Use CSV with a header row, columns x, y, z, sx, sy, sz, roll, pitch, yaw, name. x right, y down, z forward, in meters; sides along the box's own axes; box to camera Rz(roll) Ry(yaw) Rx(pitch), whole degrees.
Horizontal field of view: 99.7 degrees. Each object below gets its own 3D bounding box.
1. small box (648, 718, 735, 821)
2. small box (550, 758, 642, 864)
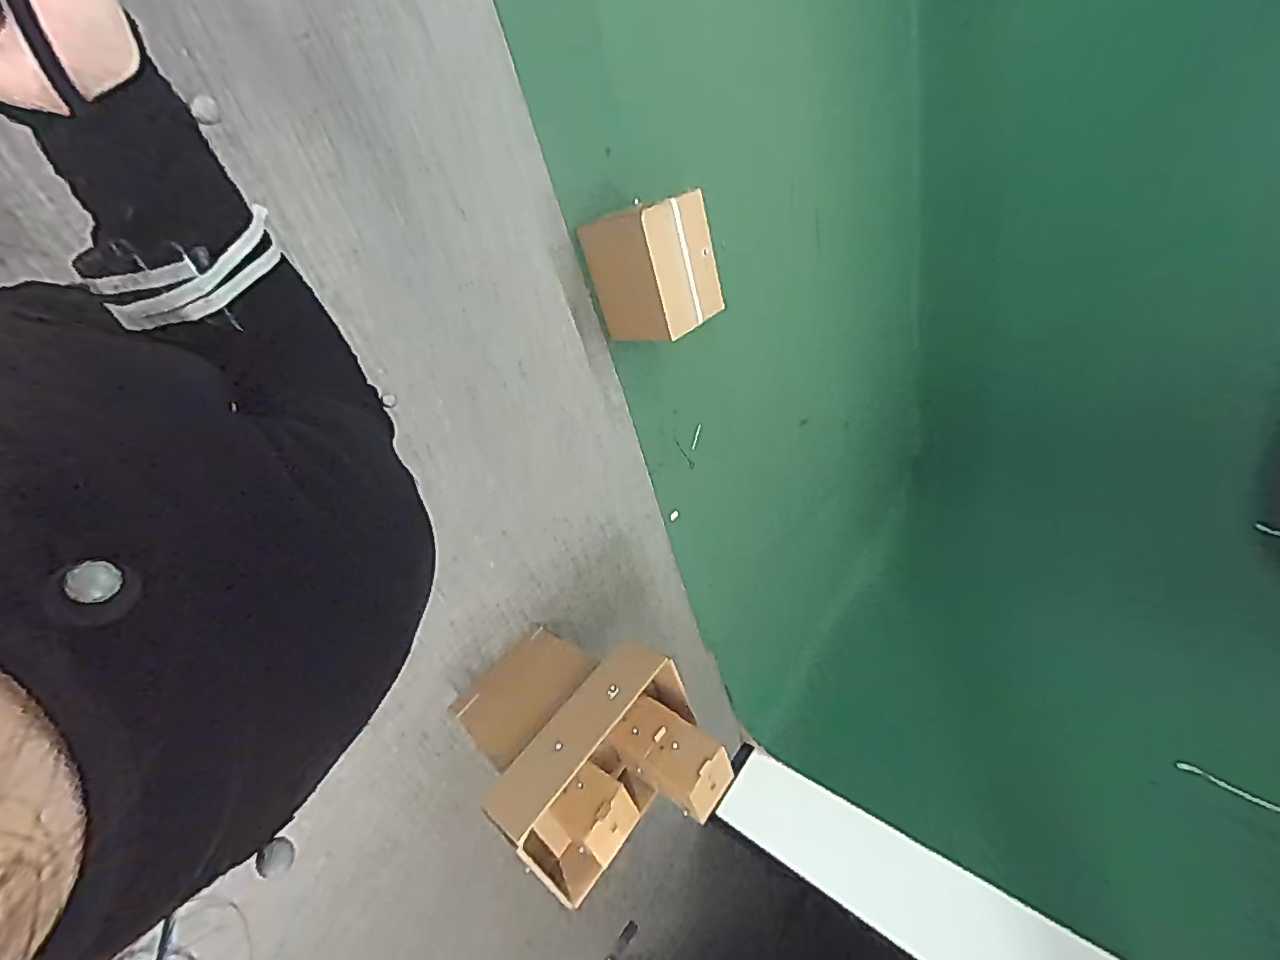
x,y,z,sx,sy,sz,roll,pitch,yaw,name
0.150,0.832,1.573,0.168,0.176,0.179,-41,128,-31,small box
-0.127,0.940,1.552,0.168,0.176,0.179,-43,128,-32,small box
